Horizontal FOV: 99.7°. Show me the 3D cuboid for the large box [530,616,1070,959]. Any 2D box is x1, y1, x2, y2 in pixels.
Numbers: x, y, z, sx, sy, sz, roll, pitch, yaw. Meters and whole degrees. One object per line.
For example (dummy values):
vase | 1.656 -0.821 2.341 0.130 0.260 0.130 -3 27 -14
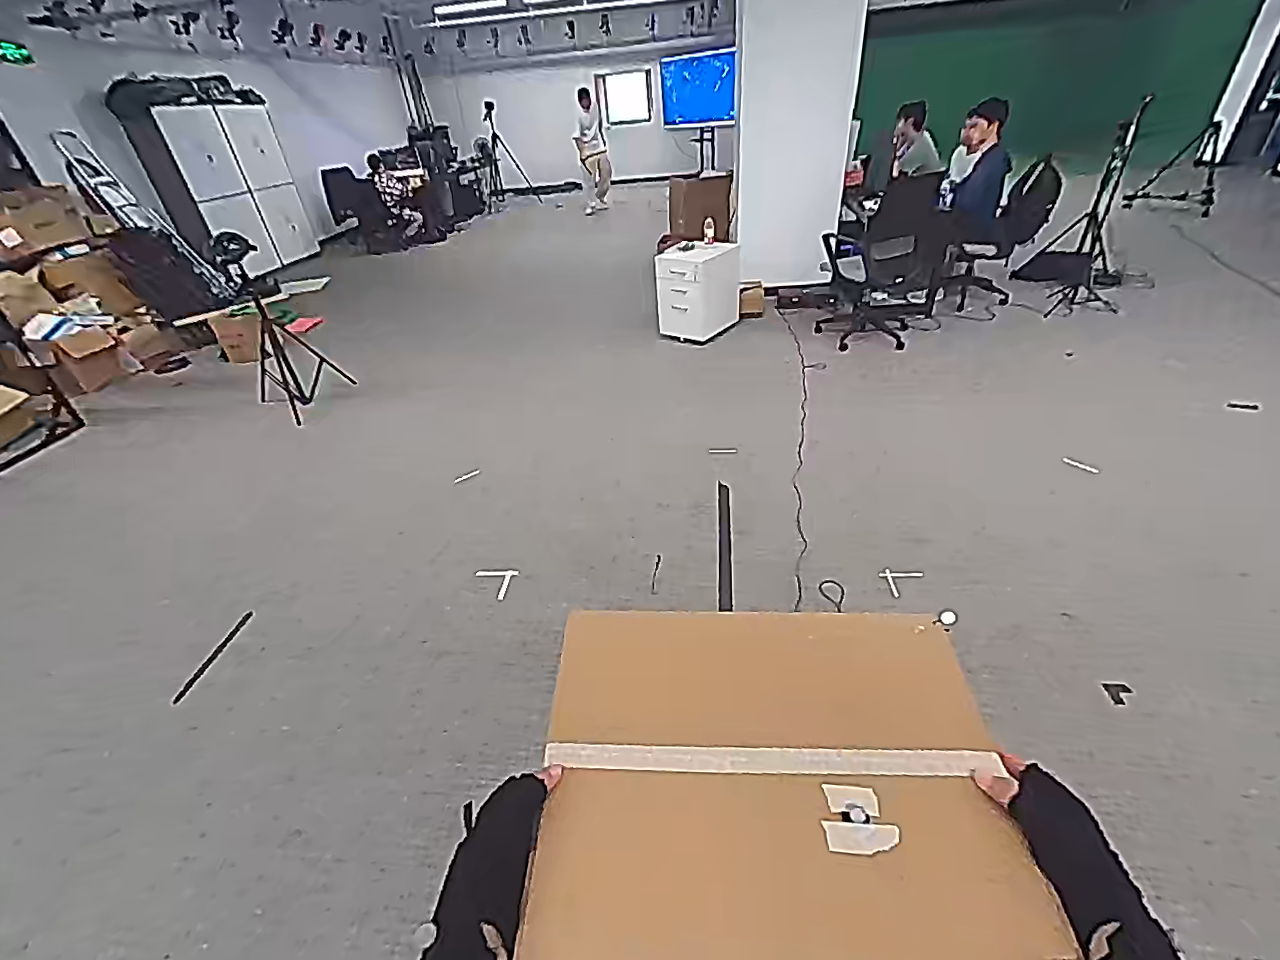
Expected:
large box | 0.125 0.368 0.600 0.408 0.320 0.320 0 44 4
